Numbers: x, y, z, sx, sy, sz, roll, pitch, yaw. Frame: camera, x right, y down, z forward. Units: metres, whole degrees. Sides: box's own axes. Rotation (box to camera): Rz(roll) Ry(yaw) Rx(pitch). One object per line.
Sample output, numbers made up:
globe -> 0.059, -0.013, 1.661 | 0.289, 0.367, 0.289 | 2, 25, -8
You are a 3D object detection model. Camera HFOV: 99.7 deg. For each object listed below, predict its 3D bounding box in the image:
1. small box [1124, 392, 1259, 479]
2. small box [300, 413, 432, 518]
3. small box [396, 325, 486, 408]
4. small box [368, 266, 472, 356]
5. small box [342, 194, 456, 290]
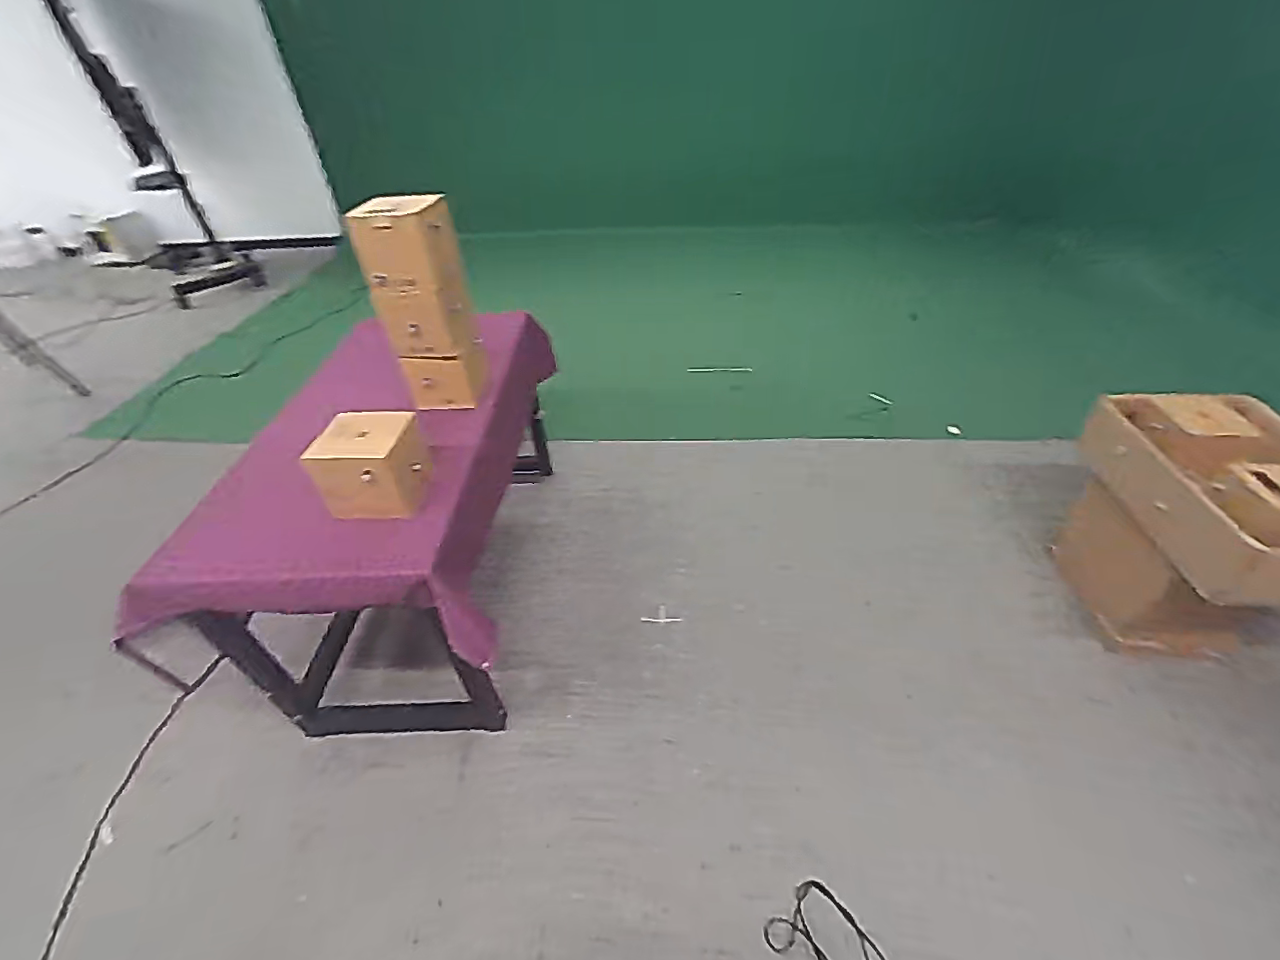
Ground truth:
small box -> 1.504, -0.125, 1.493 | 0.168, 0.176, 0.179 | 1, 42, 7
small box -> -0.576, -0.030, 1.168 | 0.179, 0.176, 0.168 | -1, 40, 4
small box -> -0.537, -0.308, 1.490 | 0.168, 0.176, 0.179 | -2, 41, 3
small box -> -0.548, -0.428, 1.377 | 0.168, 0.176, 0.179 | 1, 41, 6
small box -> -0.555, -0.558, 1.276 | 0.168, 0.176, 0.179 | 0, 40, 6
